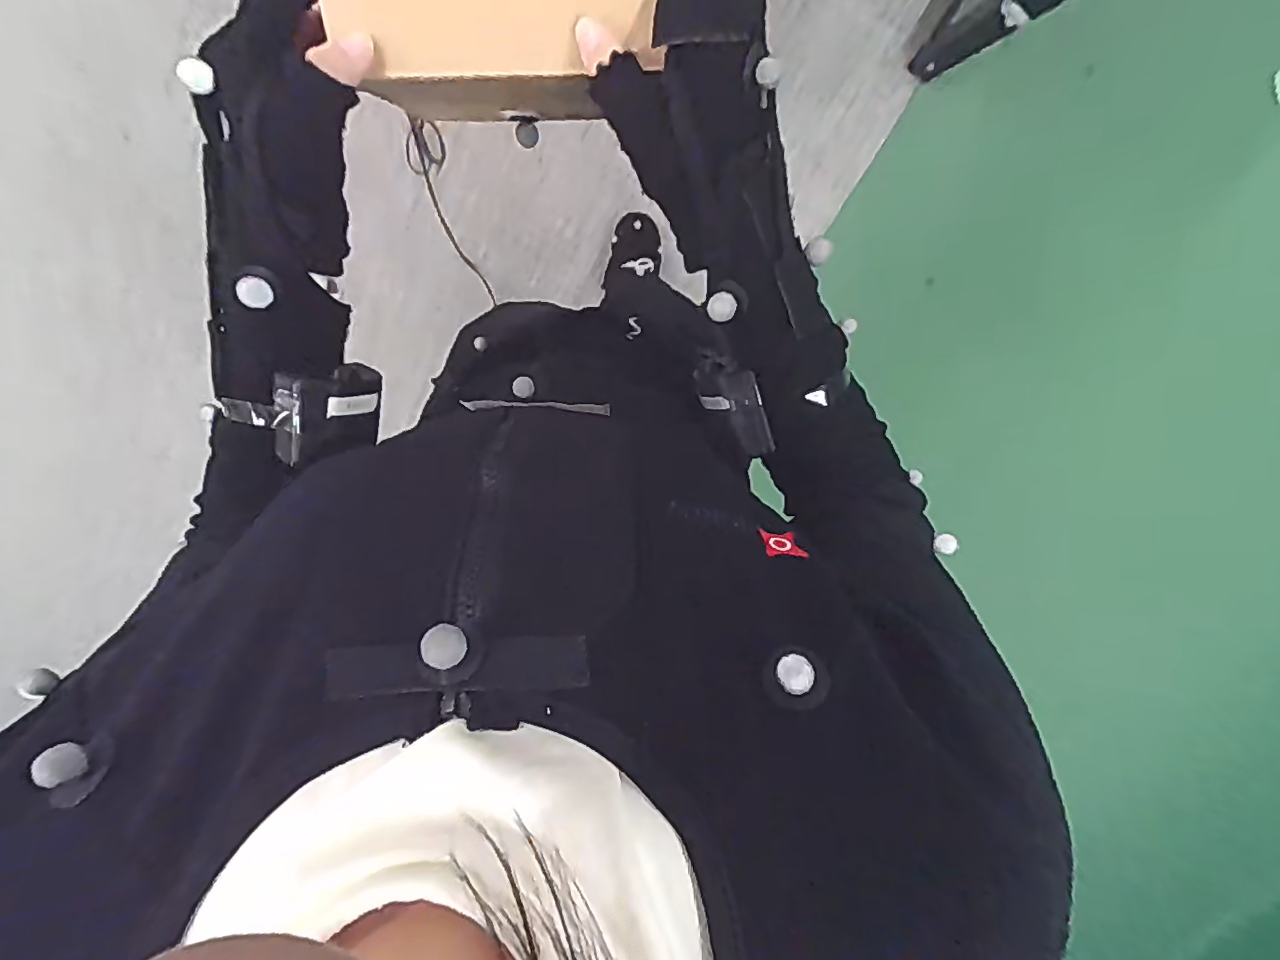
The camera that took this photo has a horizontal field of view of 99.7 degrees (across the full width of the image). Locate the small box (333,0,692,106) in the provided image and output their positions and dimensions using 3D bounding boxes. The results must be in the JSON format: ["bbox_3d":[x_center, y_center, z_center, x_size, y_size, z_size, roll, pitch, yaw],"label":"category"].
[{"bbox_3d":[-0.063,-0.319,0.285,0.168,0.176,0.179,-4,118,1],"label":"small box"}]
